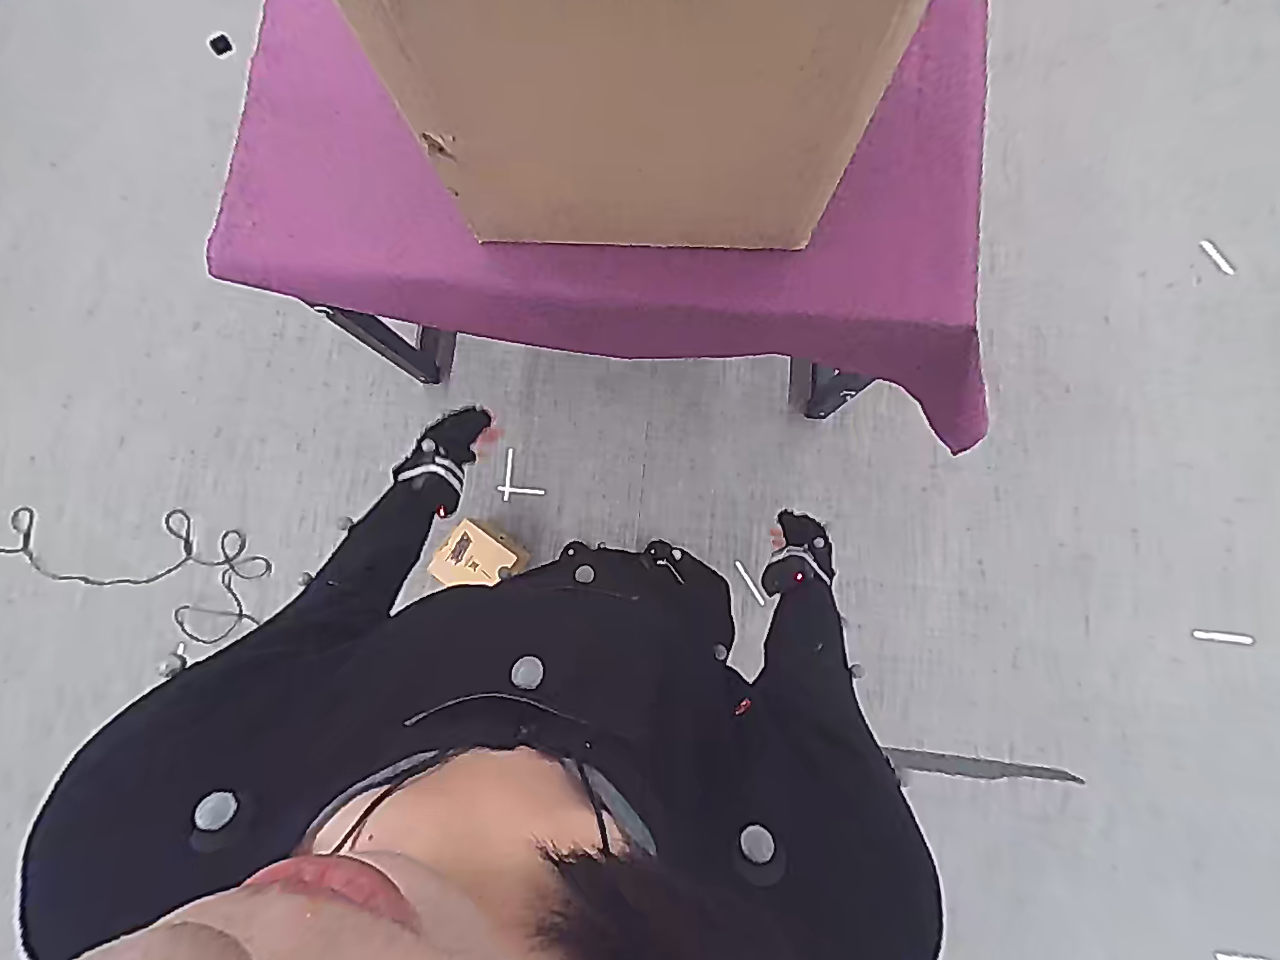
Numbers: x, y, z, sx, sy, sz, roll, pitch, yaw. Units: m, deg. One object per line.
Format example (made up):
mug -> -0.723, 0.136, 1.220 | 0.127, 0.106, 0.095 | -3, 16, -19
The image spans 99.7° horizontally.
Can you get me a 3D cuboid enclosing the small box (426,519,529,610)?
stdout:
small box -> -0.426, 0.224, 1.444 | 0.179, 0.176, 0.168 | 36, 85, 4
